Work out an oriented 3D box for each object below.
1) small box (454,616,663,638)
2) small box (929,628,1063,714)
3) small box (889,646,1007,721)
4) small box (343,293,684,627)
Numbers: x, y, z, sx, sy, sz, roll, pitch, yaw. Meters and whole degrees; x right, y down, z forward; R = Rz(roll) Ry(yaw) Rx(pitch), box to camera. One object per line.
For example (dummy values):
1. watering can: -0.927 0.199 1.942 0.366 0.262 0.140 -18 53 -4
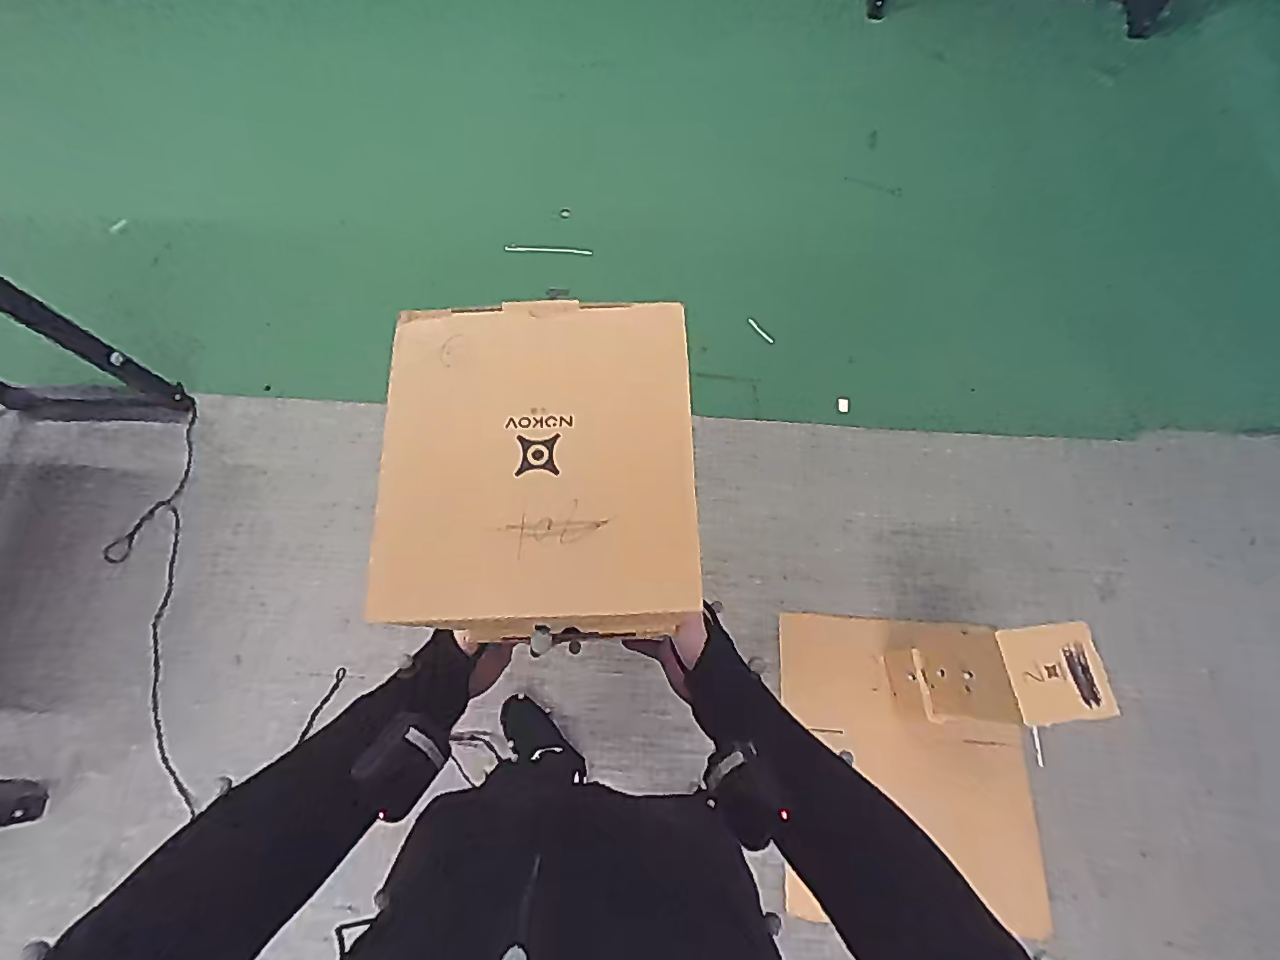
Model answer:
1. small box: -0.064 0.056 0.512 0.168 0.176 0.179 -3 72 -1
2. small box: 0.765 0.421 1.190 0.179 0.176 0.168 -3 70 -1
3. small box: 0.751 0.497 1.337 0.179 0.176 0.168 -4 69 -1
4. small box: -0.062 0.001 0.358 0.168 0.176 0.179 -2 73 0
